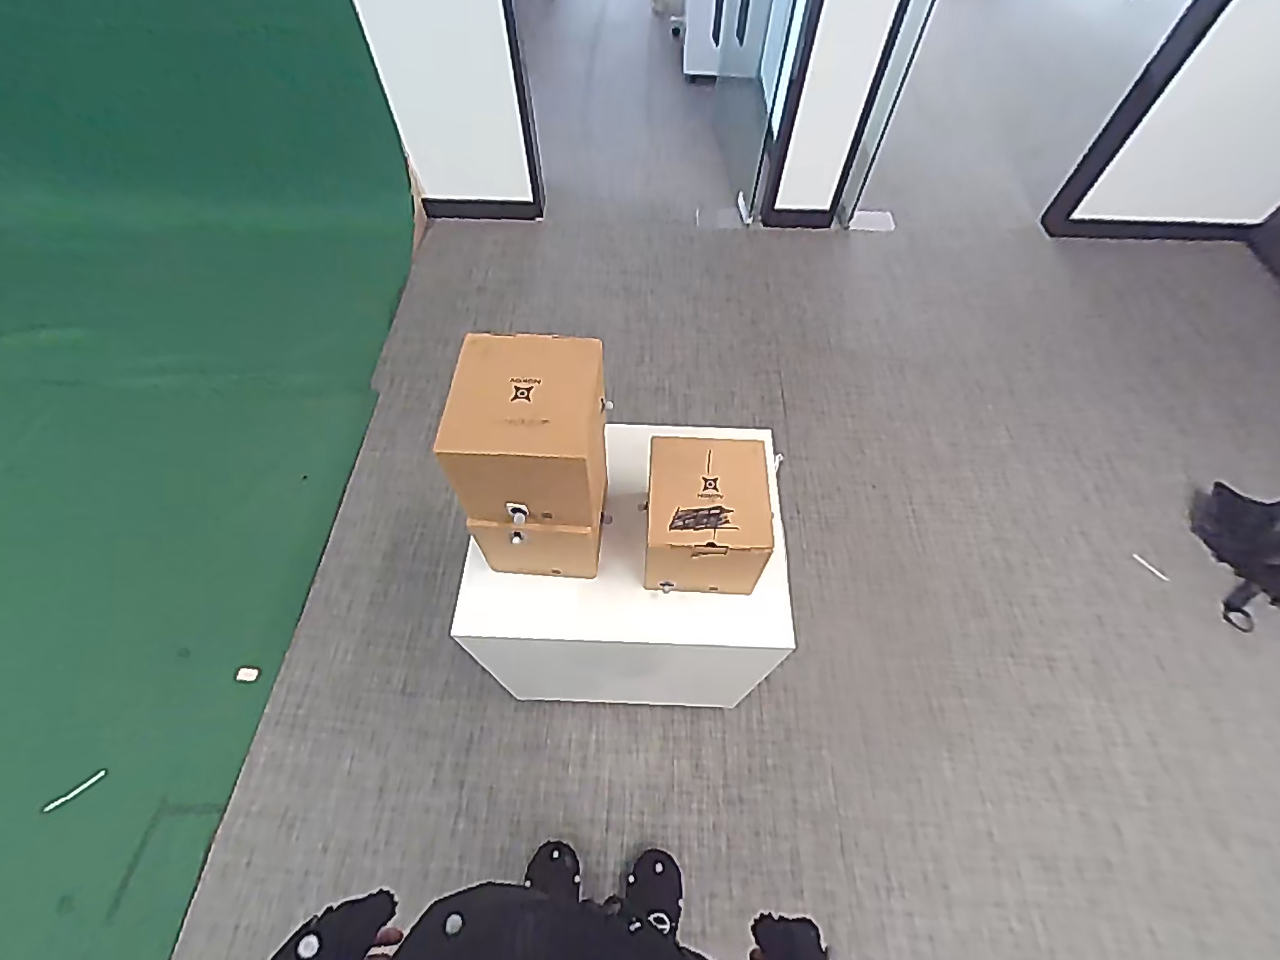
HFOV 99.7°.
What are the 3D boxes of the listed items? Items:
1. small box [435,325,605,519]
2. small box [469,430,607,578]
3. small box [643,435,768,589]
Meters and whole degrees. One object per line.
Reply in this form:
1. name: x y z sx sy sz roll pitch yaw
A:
1. small box: -0.133 -0.068 0.676 0.168 0.176 0.179 2 60 0
2. small box: -0.141 0.030 0.824 0.168 0.176 0.179 4 58 2
3. small box: 0.091 0.054 0.813 0.168 0.176 0.179 3 58 1
